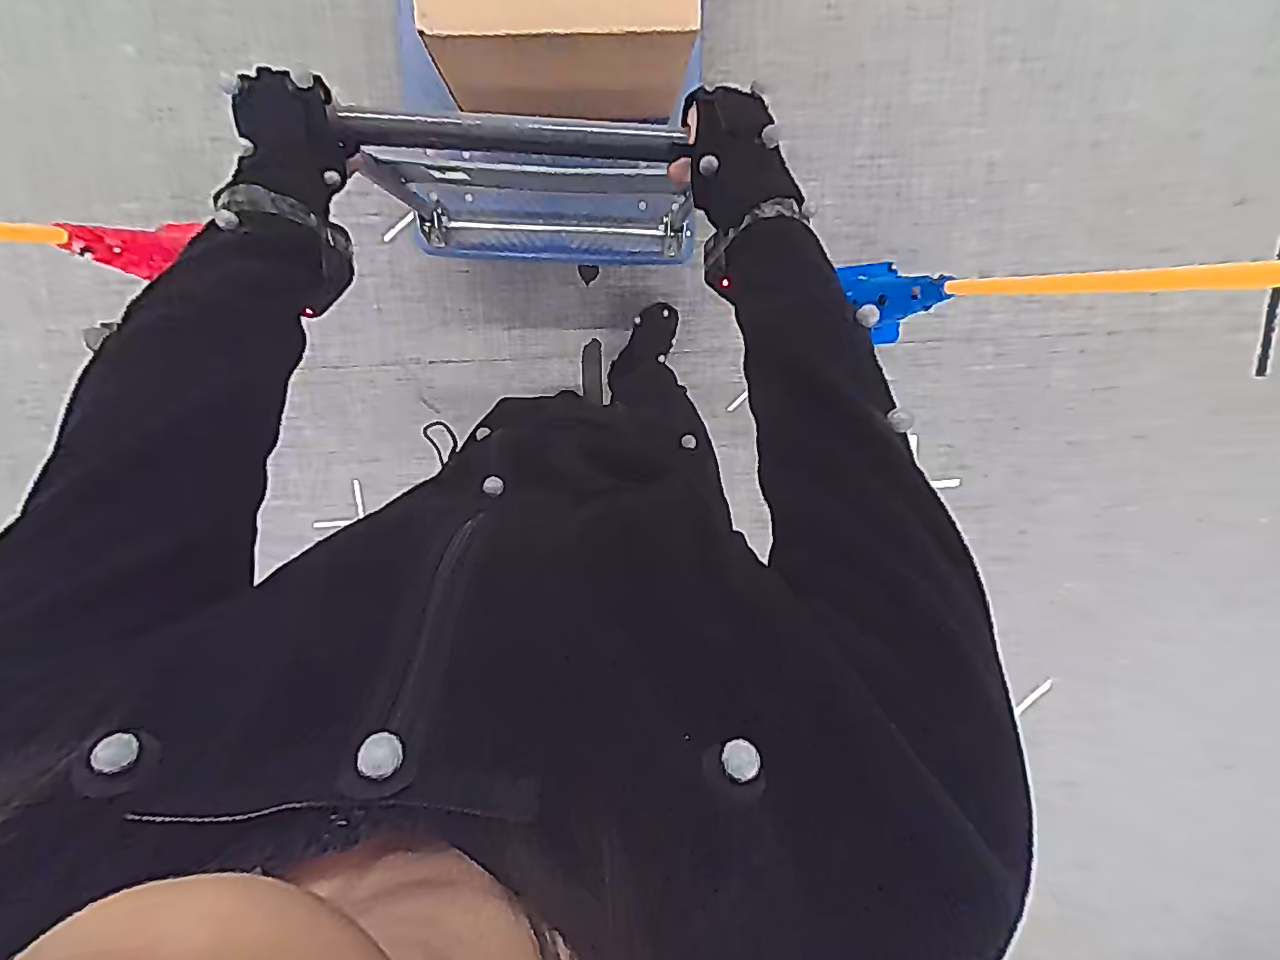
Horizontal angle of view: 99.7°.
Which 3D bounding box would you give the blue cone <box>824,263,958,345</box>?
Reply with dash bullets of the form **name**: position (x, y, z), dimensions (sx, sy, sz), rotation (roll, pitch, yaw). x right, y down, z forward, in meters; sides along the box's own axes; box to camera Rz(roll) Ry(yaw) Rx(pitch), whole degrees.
- **blue cone**: position (0.576, -0.413, 1.212), dimensions (0.193, 0.380, 0.192), rotation (-7, 101, -4)
